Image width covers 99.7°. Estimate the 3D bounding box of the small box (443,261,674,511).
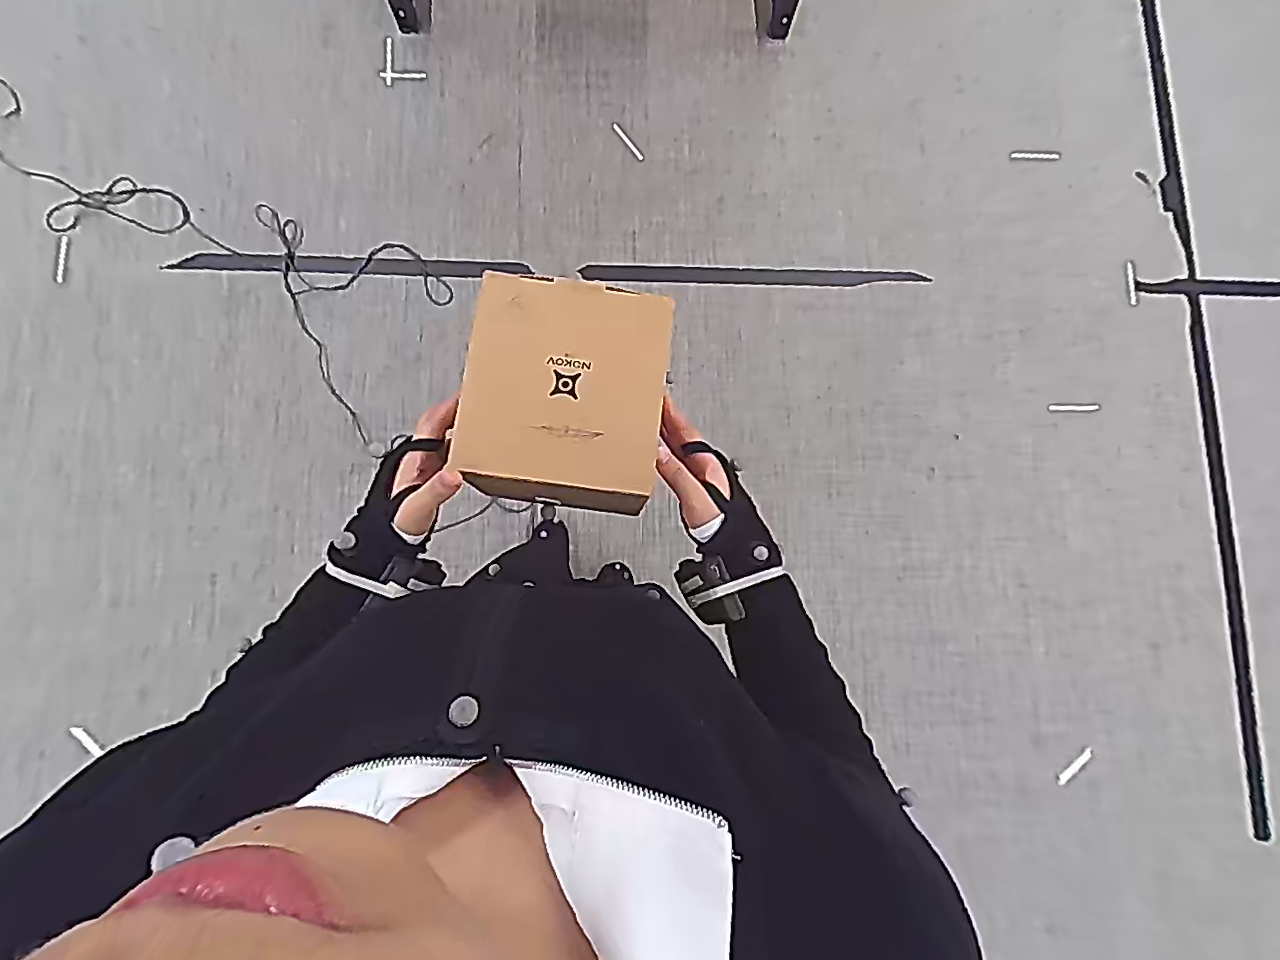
[{"bbox_3d":[-0.068,-0.074,0.516,0.168,0.176,0.179,8,80,-2],"label":"small box"}]
